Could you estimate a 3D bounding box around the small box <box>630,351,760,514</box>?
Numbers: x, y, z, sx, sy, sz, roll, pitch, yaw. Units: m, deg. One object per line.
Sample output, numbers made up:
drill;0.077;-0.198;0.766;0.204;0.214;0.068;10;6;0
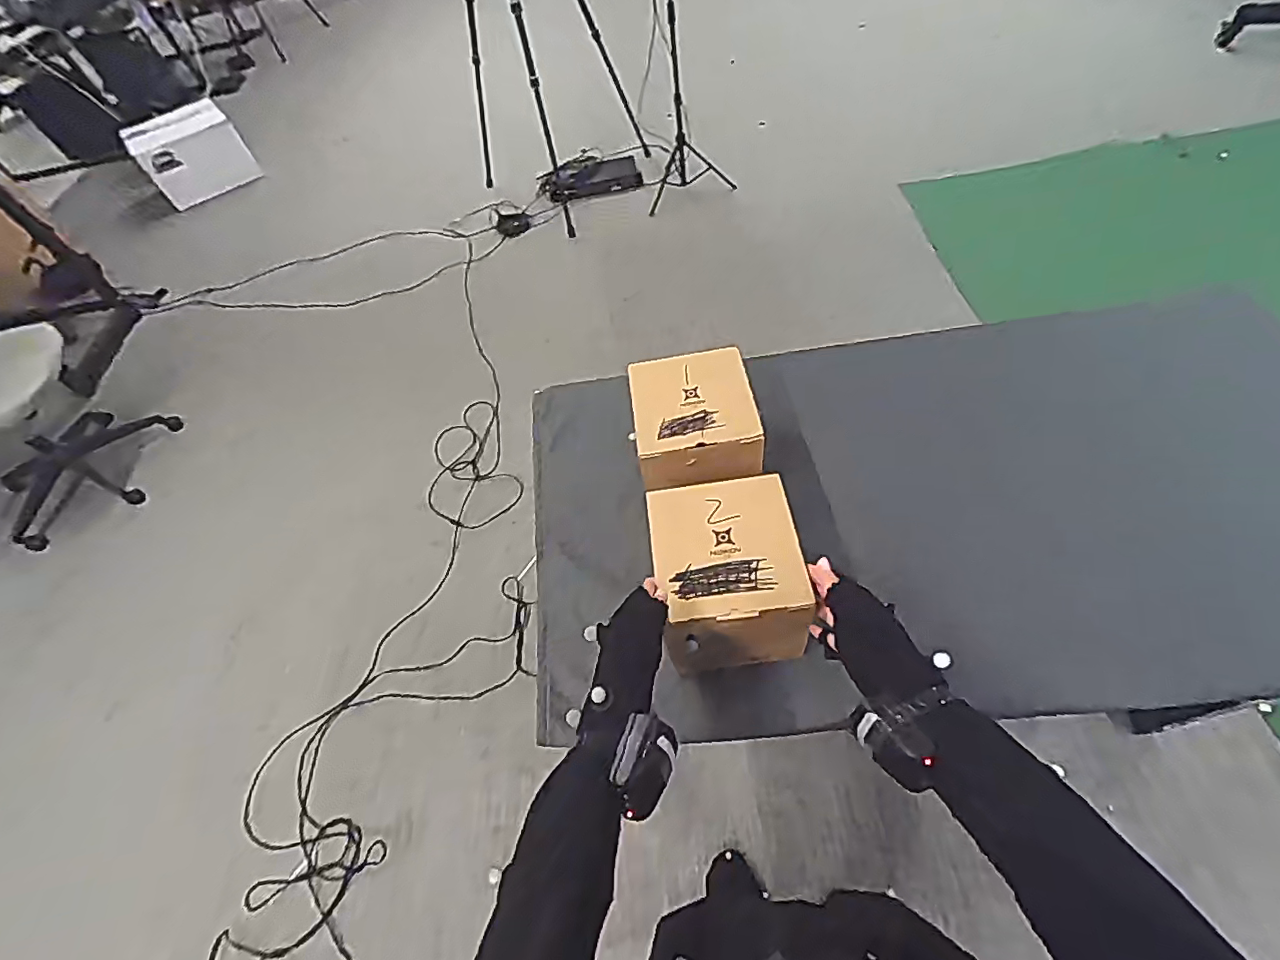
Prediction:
small box;0.080;-0.062;0.809;0.168;0.176;0.179;-8;53;3
